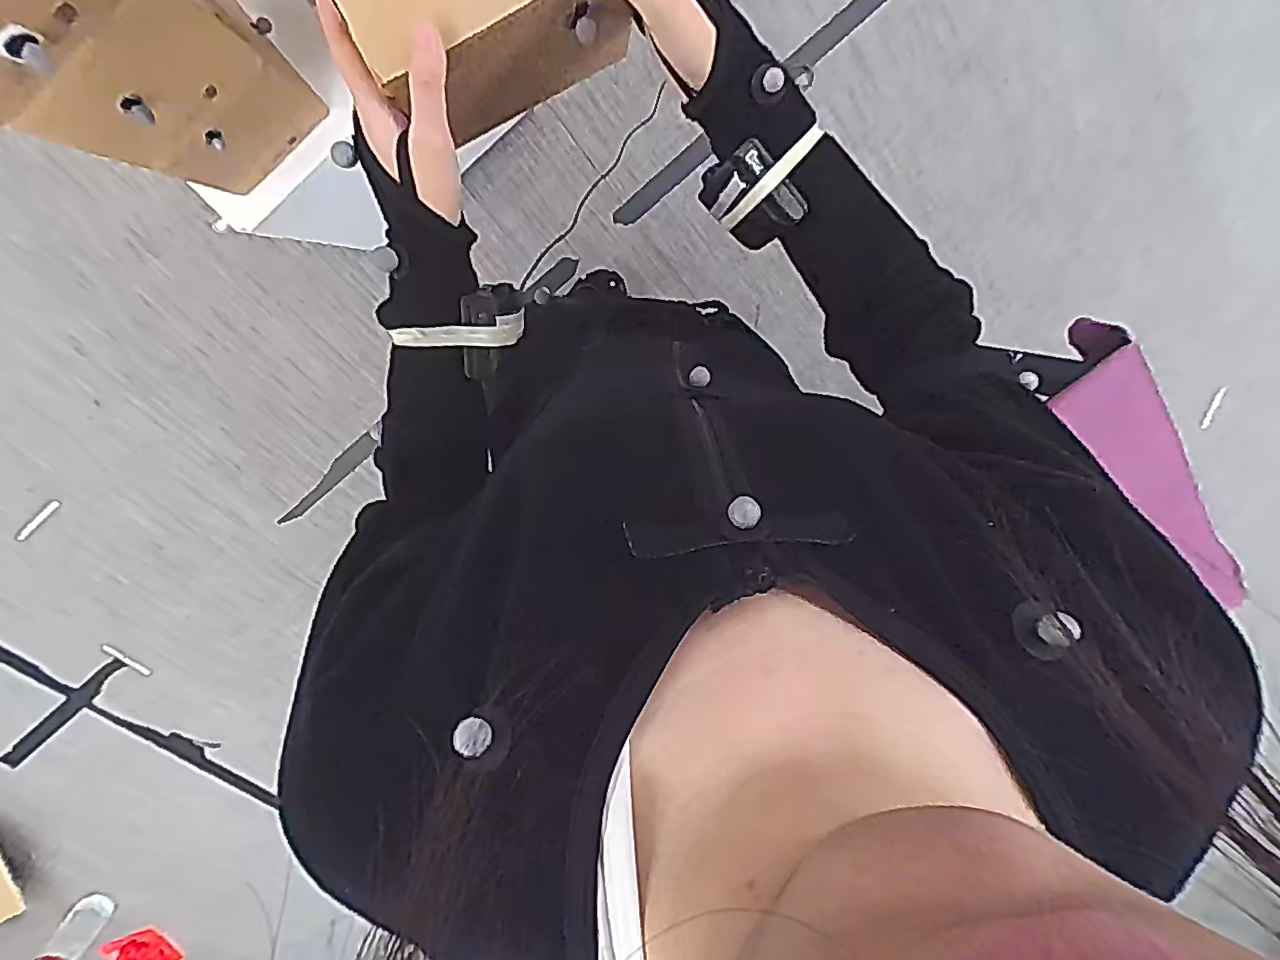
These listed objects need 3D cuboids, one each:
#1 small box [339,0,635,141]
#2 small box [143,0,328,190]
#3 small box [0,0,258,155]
[{"bbox_3d":[-0.110,-0.356,0.345,0.179,0.176,0.168,-26,110,4],"label":"small box"},{"bbox_3d":[-0.493,-0.455,0.591,0.168,0.176,0.179,-39,109,6],"label":"small box"},{"bbox_3d":[-0.469,-0.399,0.439,0.168,0.176,0.179,-40,110,7],"label":"small box"}]
